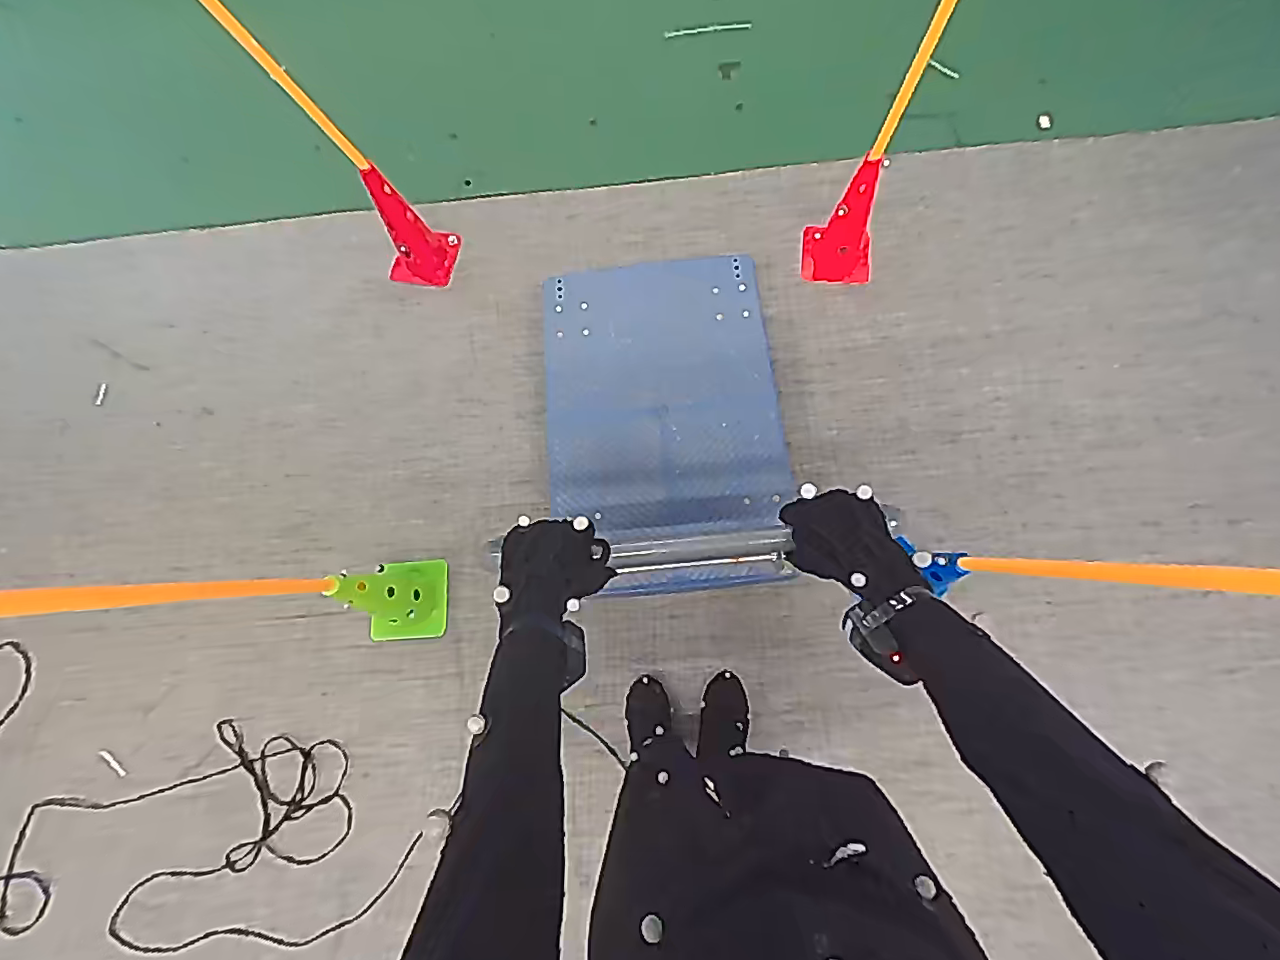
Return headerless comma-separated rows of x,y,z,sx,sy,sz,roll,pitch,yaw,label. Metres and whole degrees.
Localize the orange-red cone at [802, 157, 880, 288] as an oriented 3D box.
0.584,-0.721,1.483,0.198,0.360,0.199,6,74,7,orange-red cone
